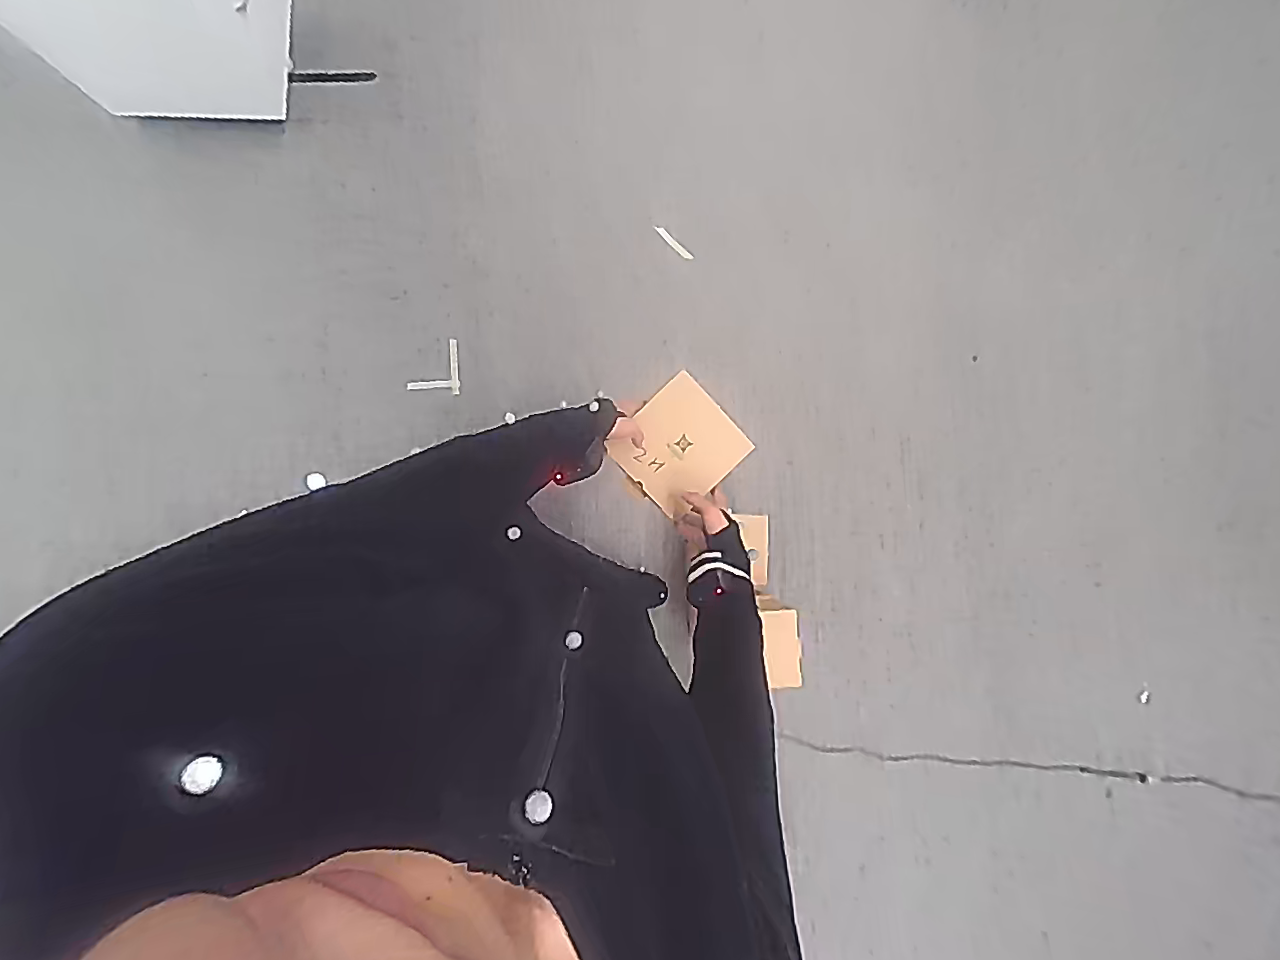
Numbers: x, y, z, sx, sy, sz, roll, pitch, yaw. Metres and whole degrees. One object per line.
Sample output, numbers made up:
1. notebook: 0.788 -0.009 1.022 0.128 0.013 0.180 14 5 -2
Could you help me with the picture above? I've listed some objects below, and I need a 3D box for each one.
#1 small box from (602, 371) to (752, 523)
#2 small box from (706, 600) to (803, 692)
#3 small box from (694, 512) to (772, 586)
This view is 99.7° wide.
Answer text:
1. small box: 0.051 -0.058 0.897 0.179 0.176 0.168 -44 96 3
2. small box: 0.255 0.370 1.230 0.179 0.176 0.168 -2 86 -3
3. small box: 0.236 0.176 1.407 0.168 0.176 0.179 3 84 -3
